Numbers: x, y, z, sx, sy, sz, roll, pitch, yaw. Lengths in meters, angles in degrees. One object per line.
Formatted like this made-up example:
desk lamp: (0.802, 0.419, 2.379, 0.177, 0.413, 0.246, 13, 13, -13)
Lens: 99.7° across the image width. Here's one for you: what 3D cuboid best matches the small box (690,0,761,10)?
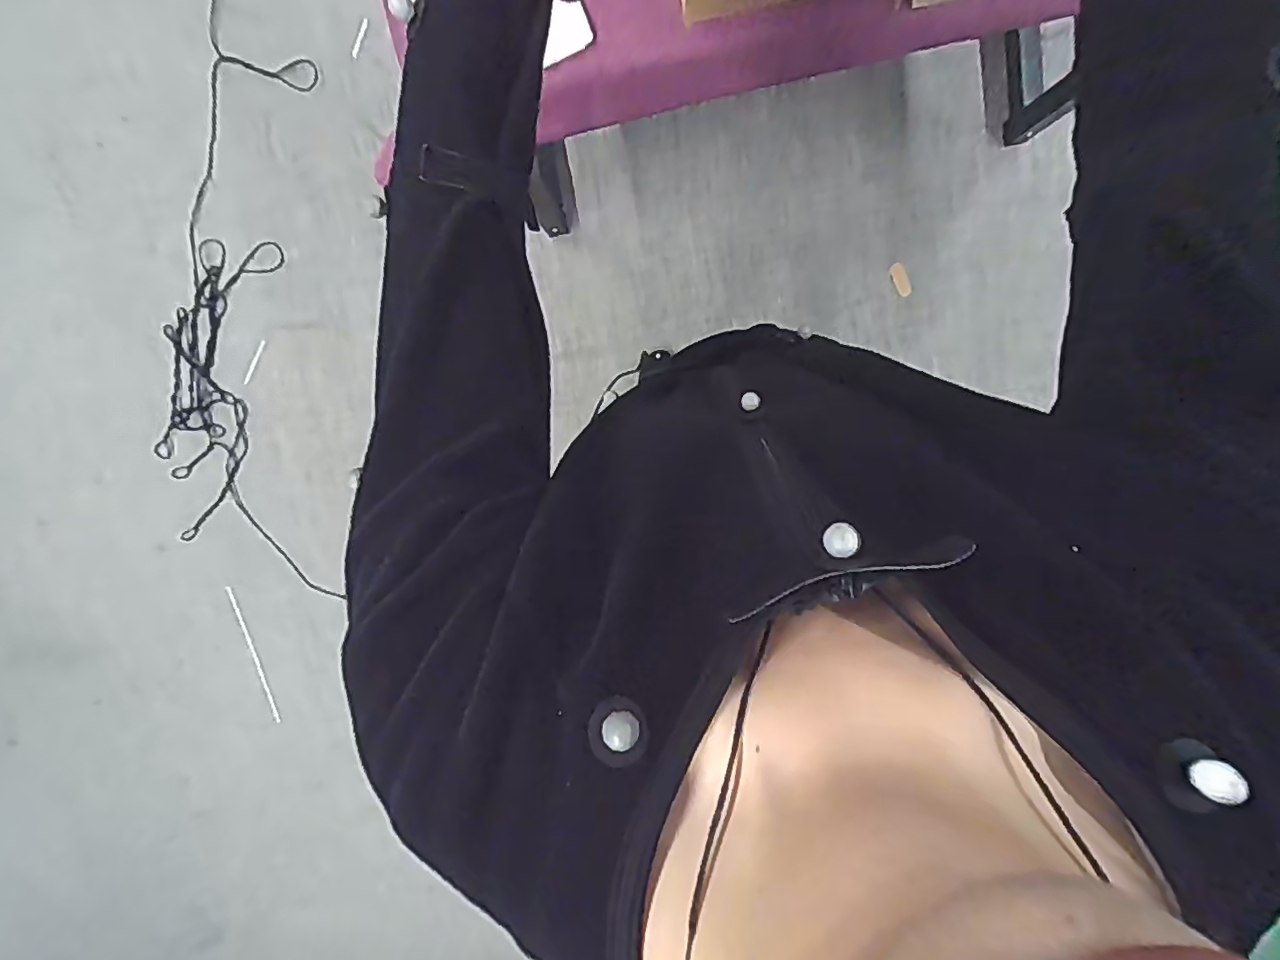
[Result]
small box: (0.120, -0.643, 0.565, 0.168, 0.176, 0.179, -8, 98, 5)
